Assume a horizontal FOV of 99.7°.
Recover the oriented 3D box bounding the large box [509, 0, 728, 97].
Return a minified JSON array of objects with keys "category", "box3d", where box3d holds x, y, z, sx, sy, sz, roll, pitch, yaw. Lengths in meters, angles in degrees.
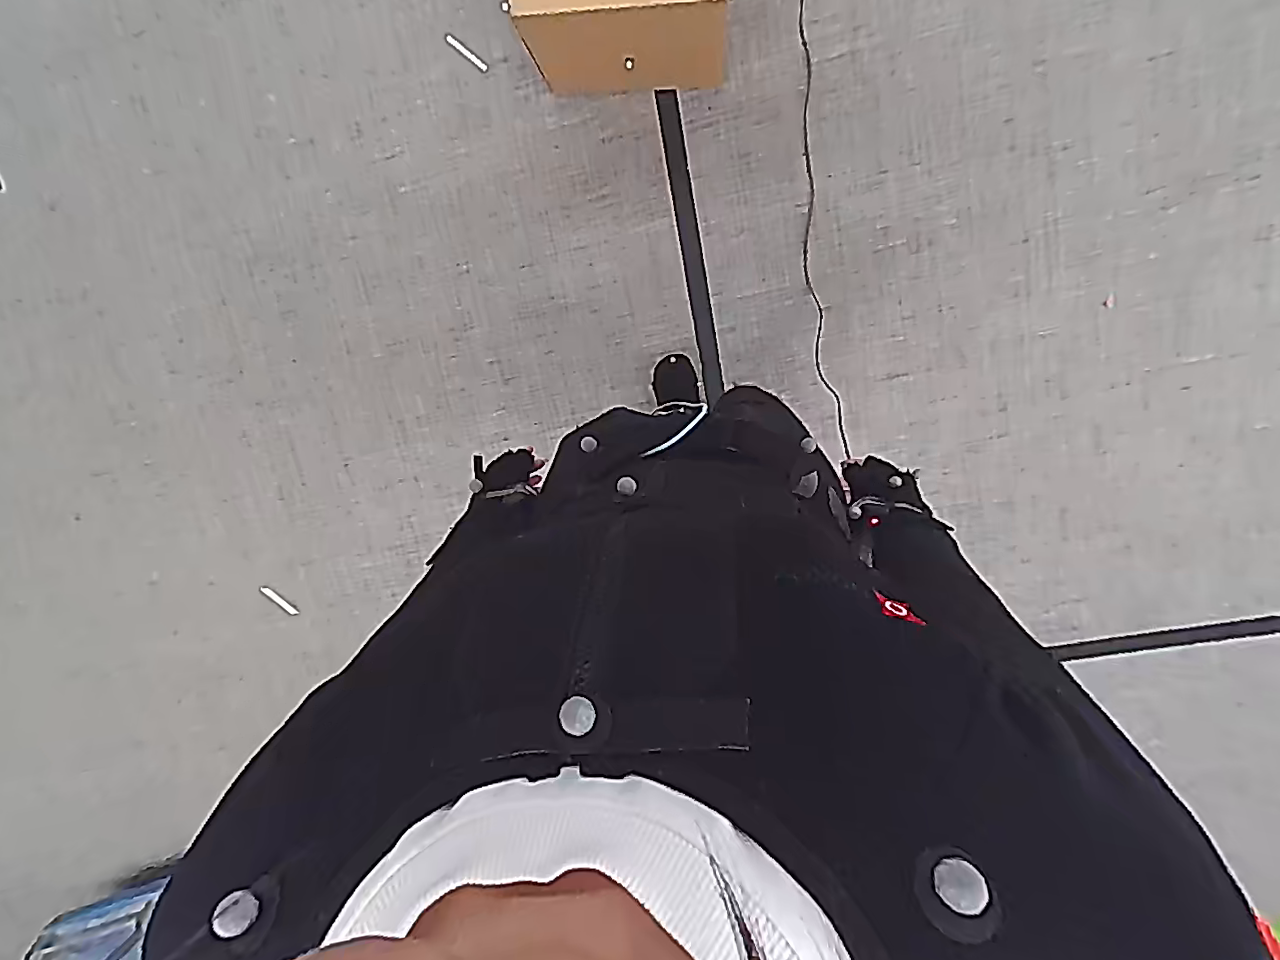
[{"category":"large box","box3d":[-0.026,-1.027,1.092,0.408,0.320,0.320,2,101,8]}]
